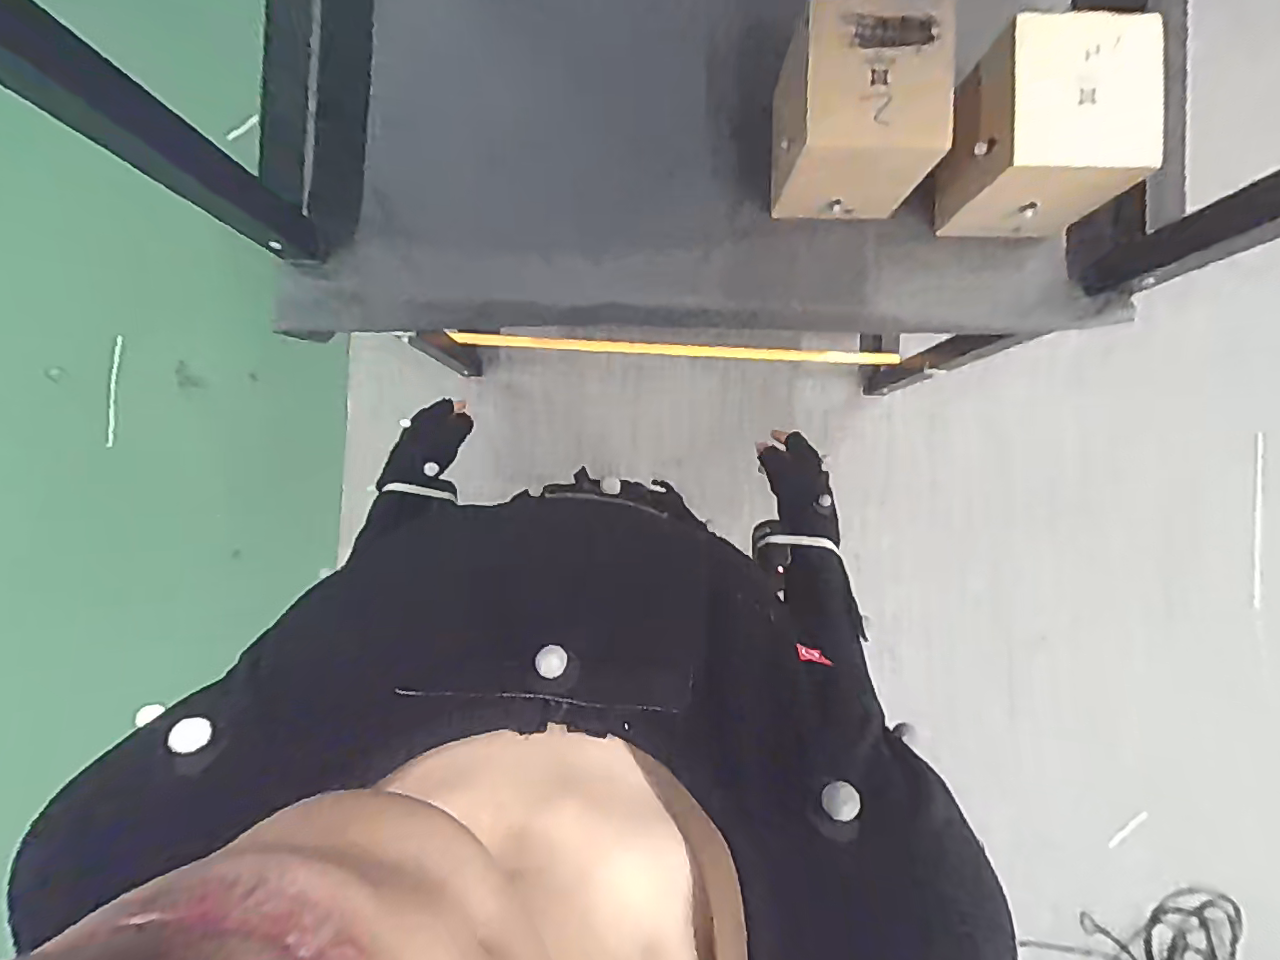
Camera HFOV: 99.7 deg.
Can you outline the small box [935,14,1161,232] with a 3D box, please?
[{"bbox_3d":[0.499,-0.435,0.686,0.168,0.176,0.179,1,89,0],"label":"small box"}]
